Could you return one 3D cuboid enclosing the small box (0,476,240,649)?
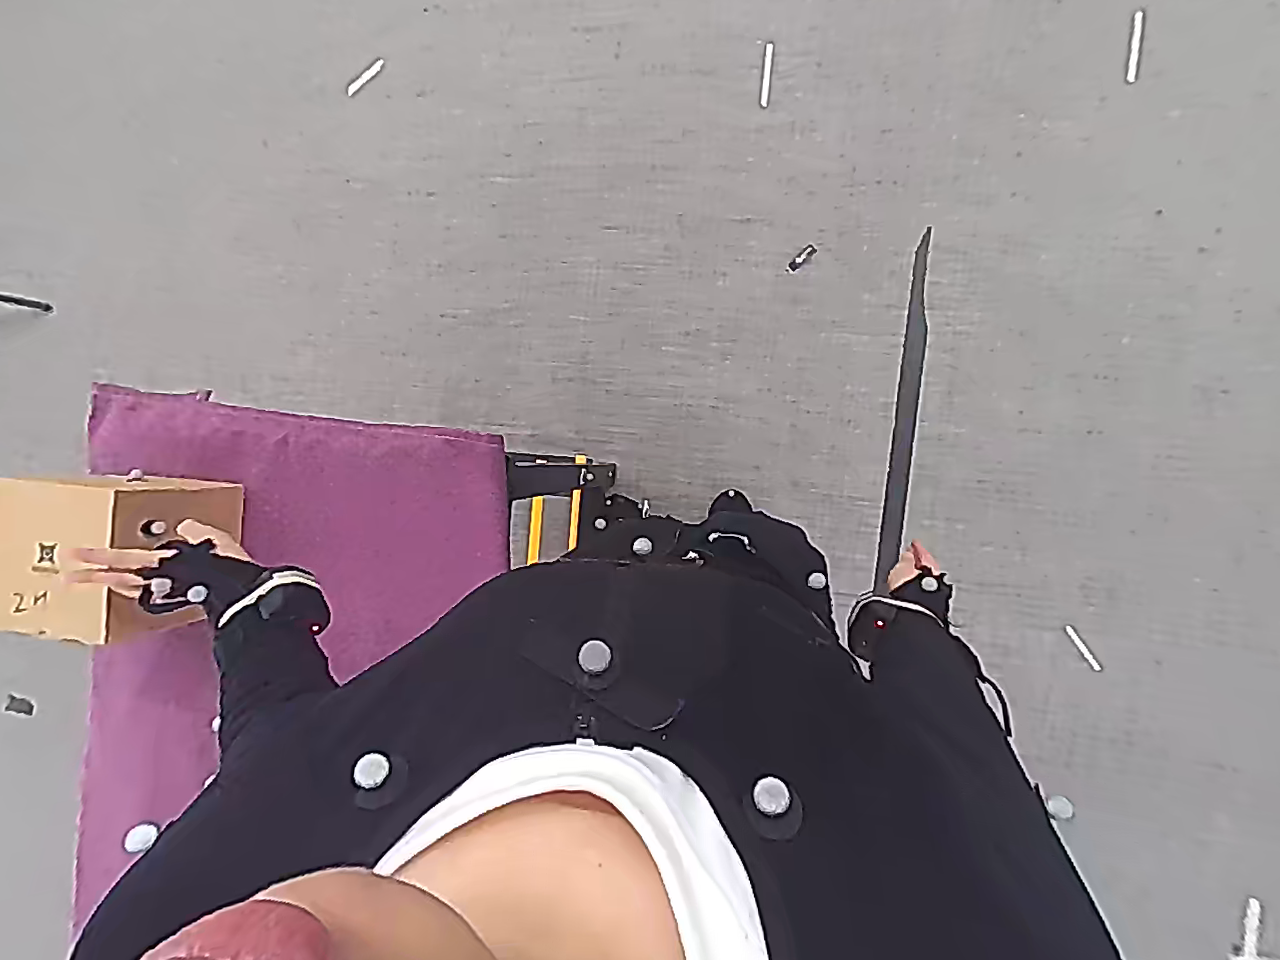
[{"bbox_3d":[-0.641,0.089,0.672,0.168,0.176,0.179,5,92,8],"label":"small box"}]
